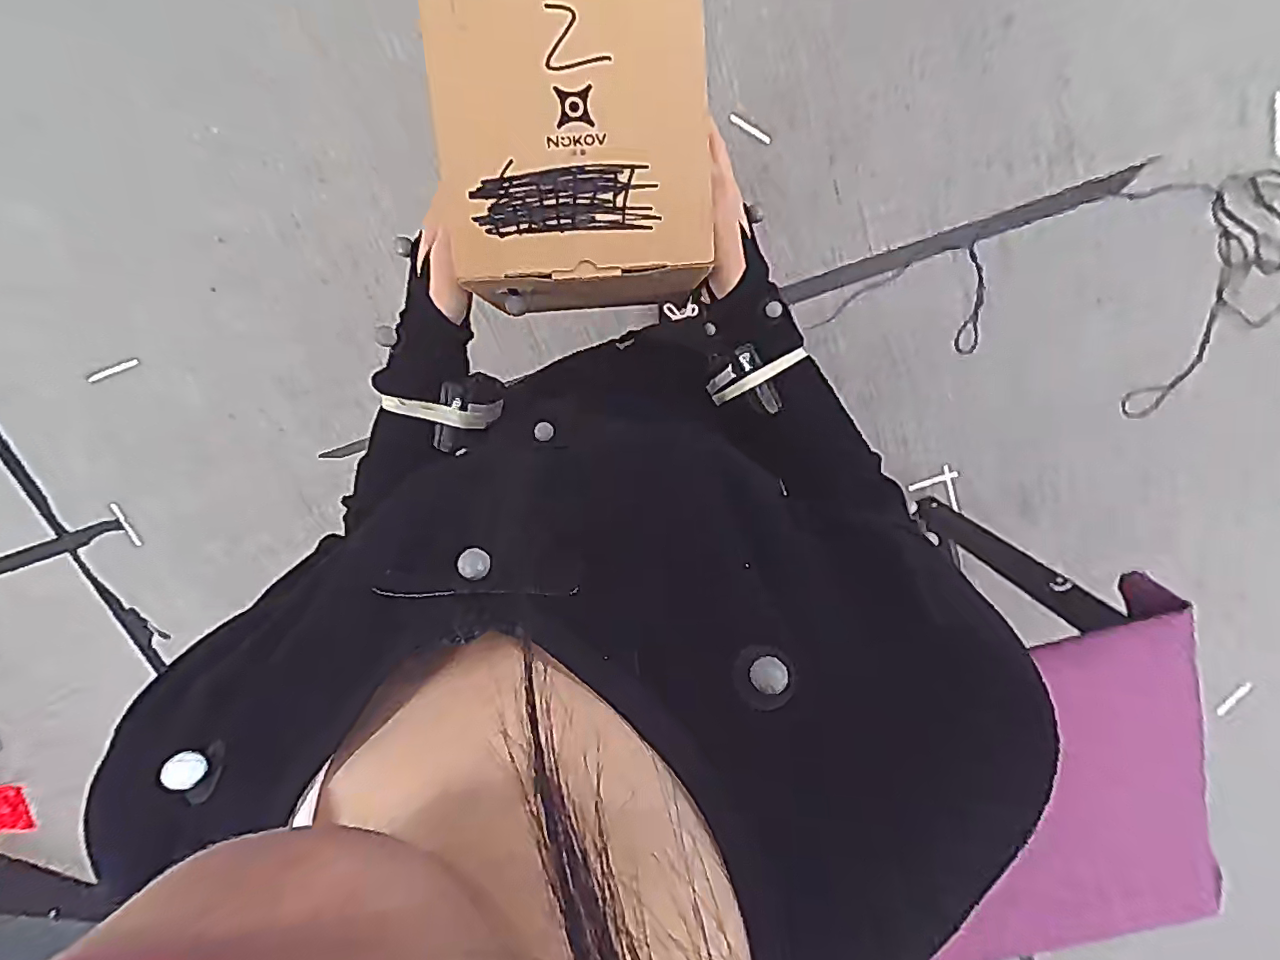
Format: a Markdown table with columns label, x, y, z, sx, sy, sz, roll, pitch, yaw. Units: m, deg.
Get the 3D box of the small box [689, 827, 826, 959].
| label | x | y | z | sx | sy | sz | roll | pitch | yaw |
| --- | --- | --- | --- | --- | --- | --- | --- | --- | --- |
| small box | 0.184 | 0.690 | 0.857 | 0.179 | 0.176 | 0.168 | -16 | 104 | 6 |
